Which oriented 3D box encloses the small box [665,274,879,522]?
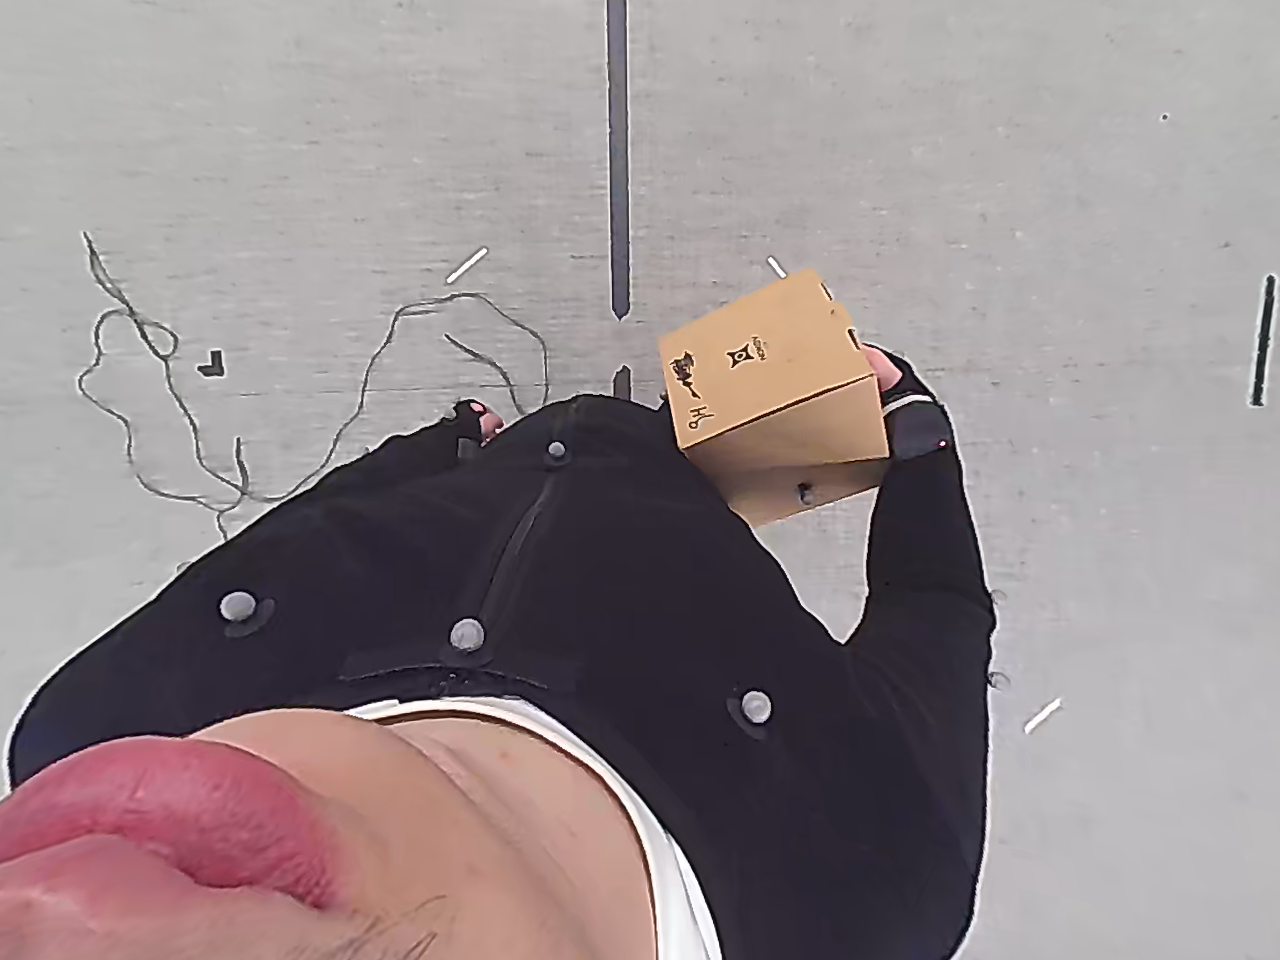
[{"bbox_3d":[0.146,-0.080,0.590,0.179,0.168,0.176,-21,139,16],"label":"small box"}]
